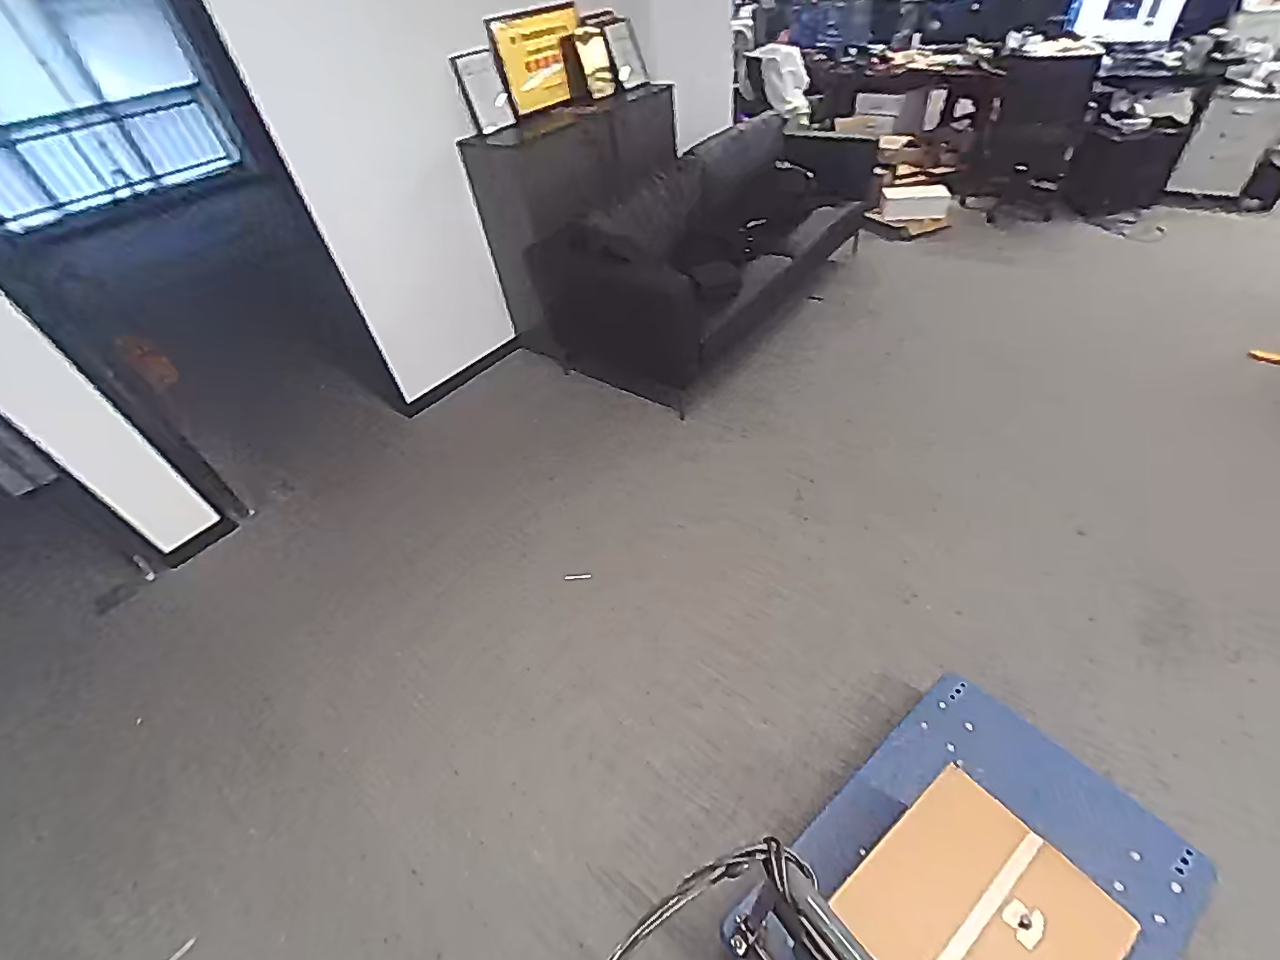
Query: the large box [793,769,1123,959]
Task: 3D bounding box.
[{"bbox_3d":[0.531,0.831,0.966,0.408,0.320,0.320,-30,47,-23],"label":"large box"}]
